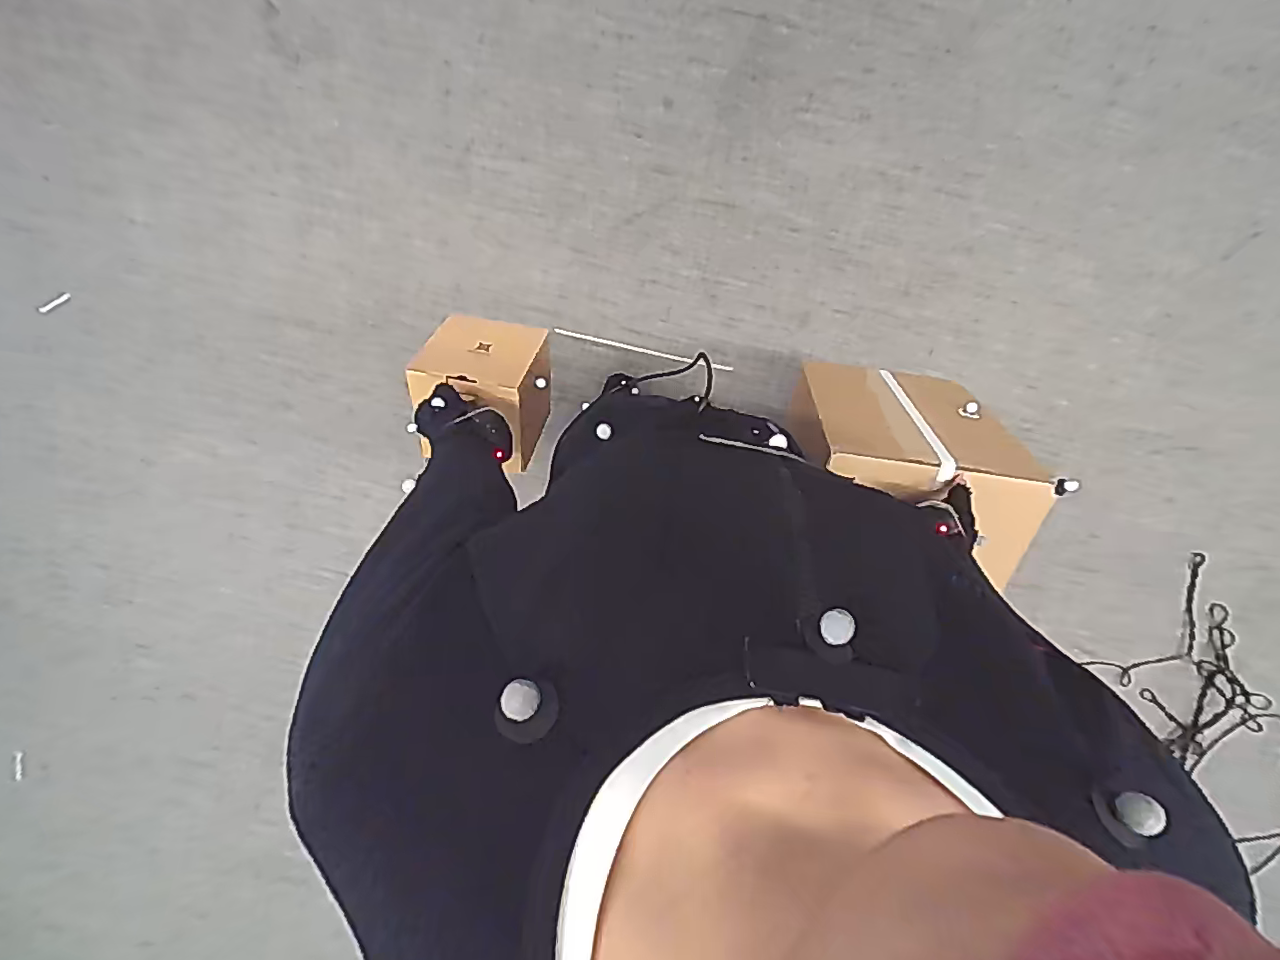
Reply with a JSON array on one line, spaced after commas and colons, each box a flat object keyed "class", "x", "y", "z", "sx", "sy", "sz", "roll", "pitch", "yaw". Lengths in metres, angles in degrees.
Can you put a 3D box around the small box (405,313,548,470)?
[{"class": "small box", "x": -0.252, "y": -0.143, "z": 0.877, "sx": 0.168, "sy": 0.179, "sz": 0.176, "roll": 10, "pitch": 135, "yaw": 1}]
